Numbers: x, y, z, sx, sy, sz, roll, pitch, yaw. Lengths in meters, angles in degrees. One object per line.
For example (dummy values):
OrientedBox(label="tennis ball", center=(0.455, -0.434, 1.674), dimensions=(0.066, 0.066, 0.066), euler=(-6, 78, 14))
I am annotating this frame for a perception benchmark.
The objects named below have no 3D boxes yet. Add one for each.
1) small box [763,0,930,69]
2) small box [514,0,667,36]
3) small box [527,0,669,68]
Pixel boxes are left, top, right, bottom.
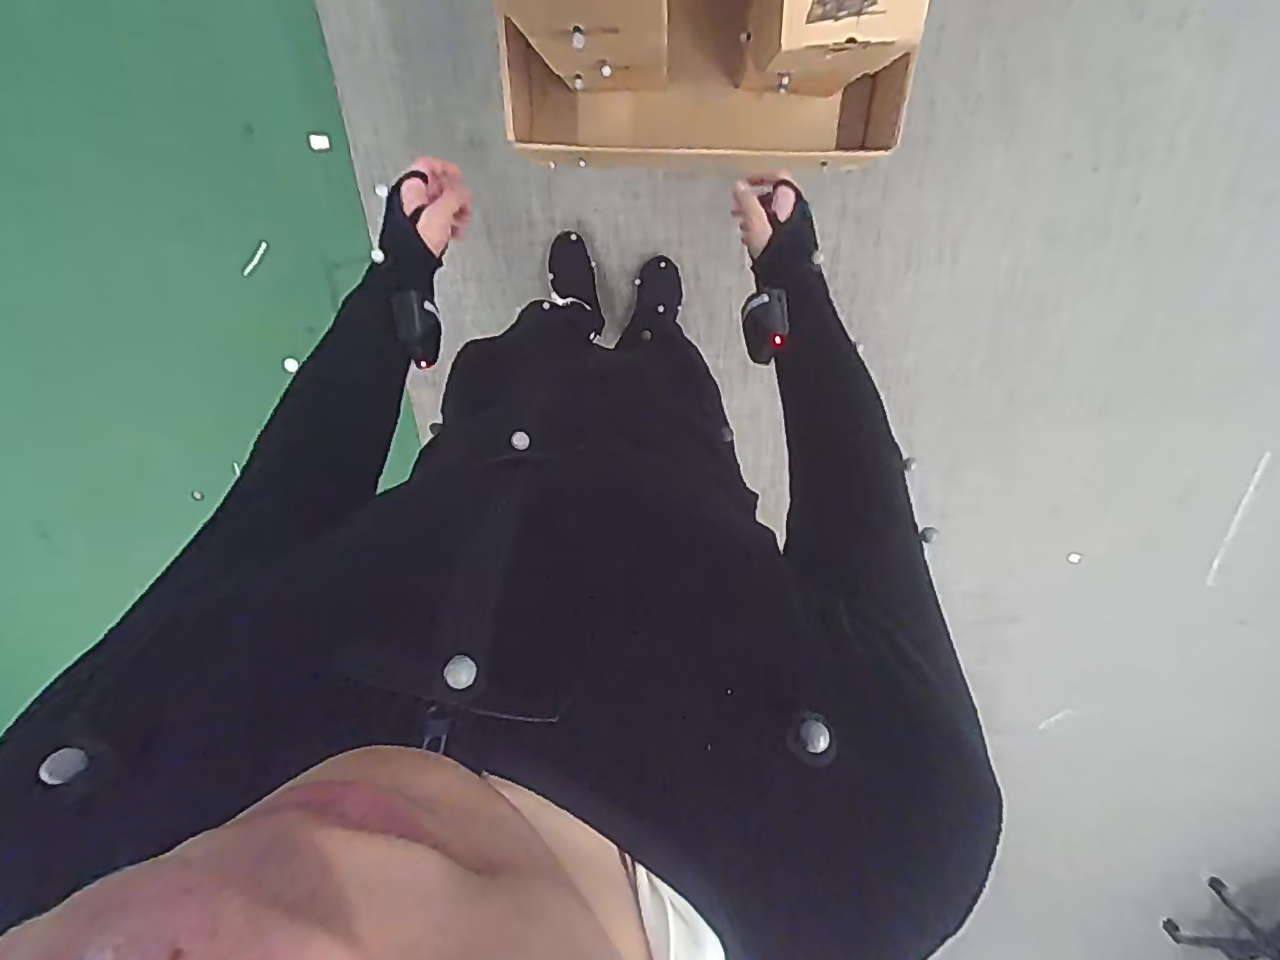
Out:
OrientedBox(label="small box", center=(0.248, -0.623, 0.659), dimensions=(0.168, 0.176, 0.179), euler=(0, 116, 3))
OrientedBox(label="small box", center=(-0.055, -0.563, 0.521), dimensions=(0.168, 0.176, 0.179), euler=(1, 116, 3))
OrientedBox(label="small box", center=(-0.048, -0.637, 0.666), dimensions=(0.168, 0.176, 0.179), euler=(1, 116, 3))
